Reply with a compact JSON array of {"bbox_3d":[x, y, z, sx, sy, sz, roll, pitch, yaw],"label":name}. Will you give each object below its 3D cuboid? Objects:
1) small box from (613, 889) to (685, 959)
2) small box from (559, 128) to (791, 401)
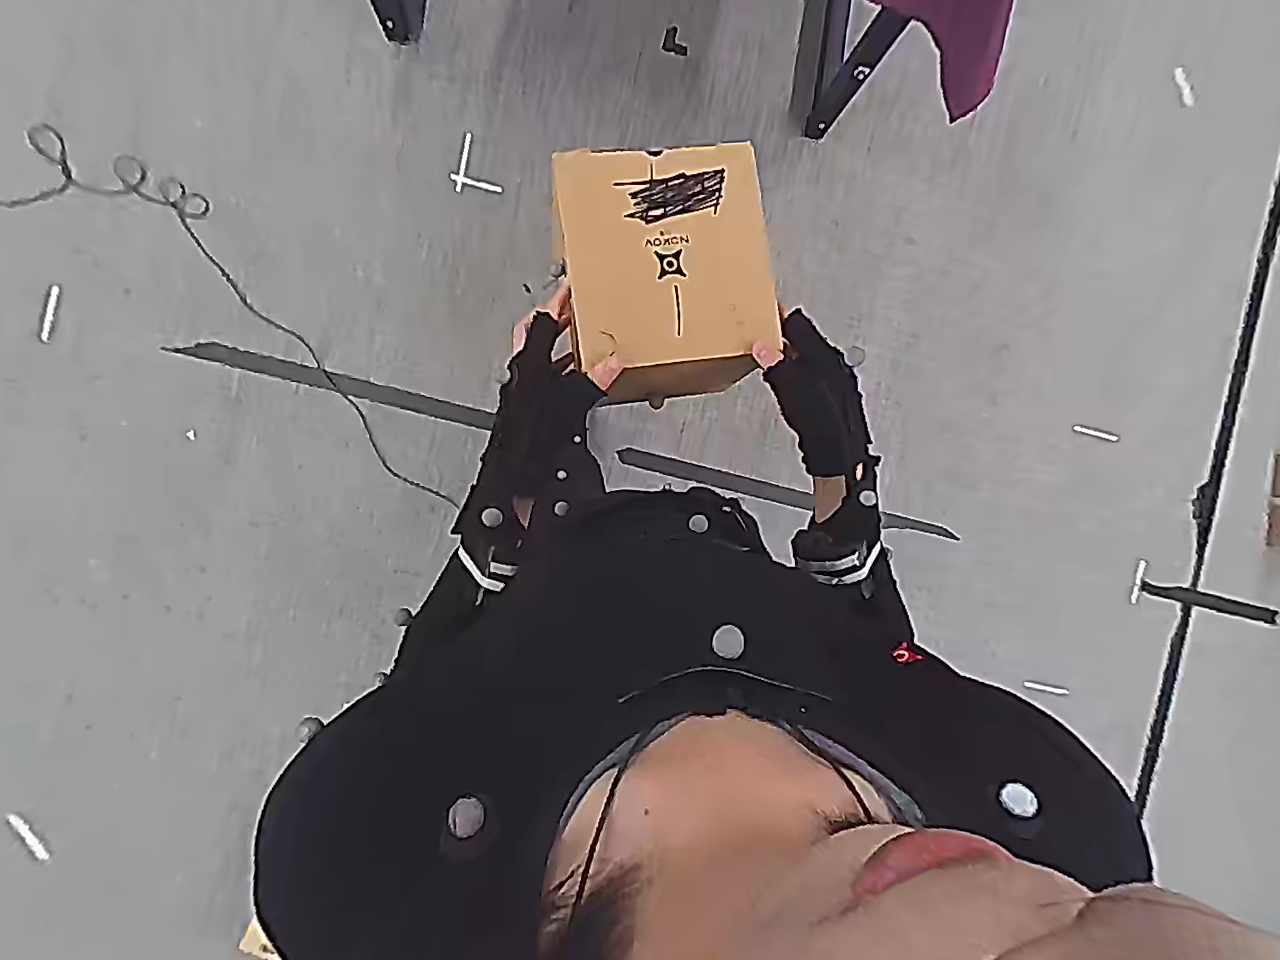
[{"bbox_3d":[0.018,1.257,1.467,0.179,0.176,0.168,0,93,-8],"label":"small box"},{"bbox_3d":[0.017,-0.181,0.495,0.168,0.176,0.179,-8,89,-8],"label":"small box"}]
